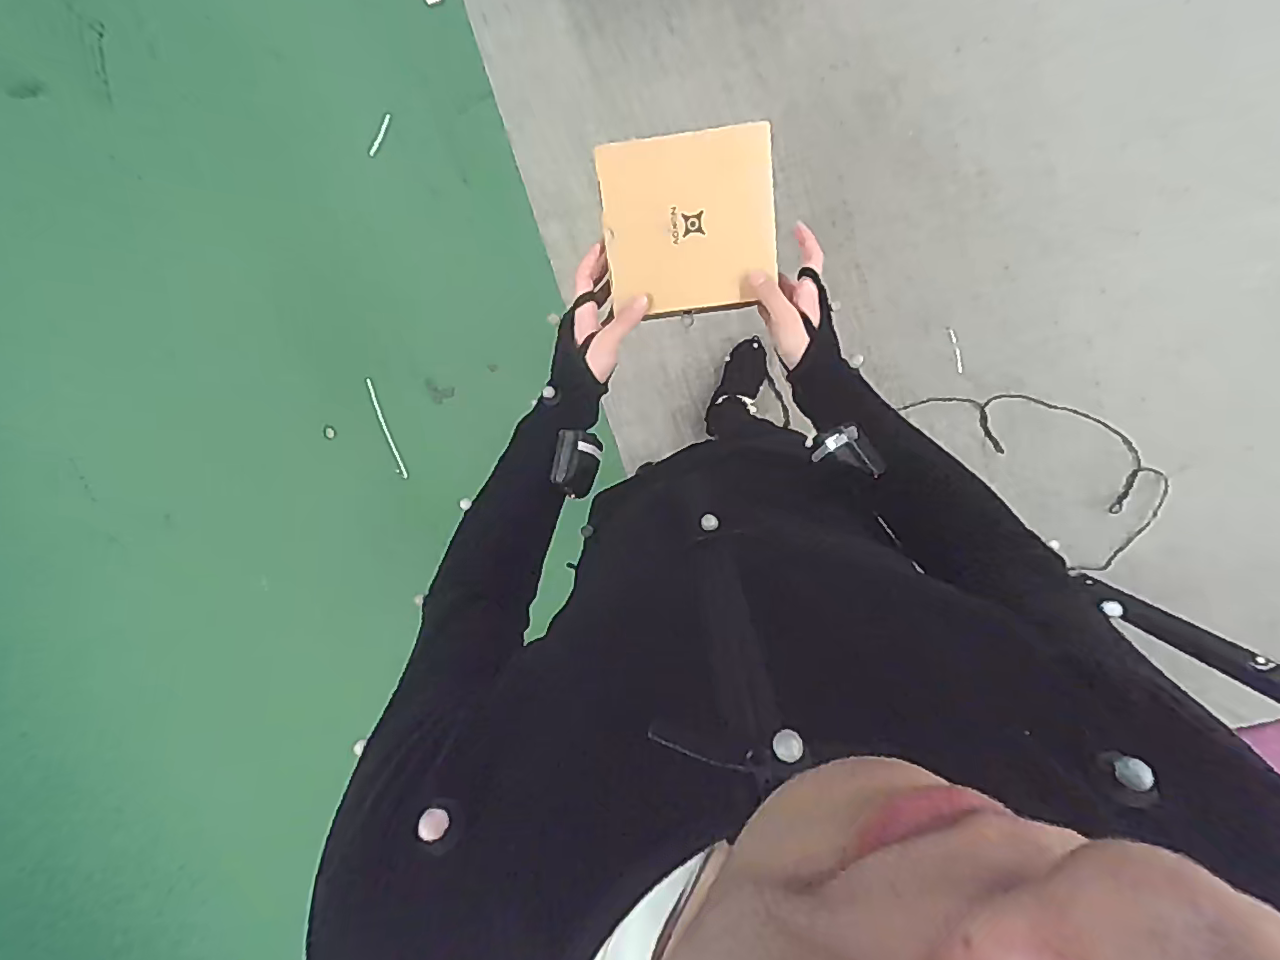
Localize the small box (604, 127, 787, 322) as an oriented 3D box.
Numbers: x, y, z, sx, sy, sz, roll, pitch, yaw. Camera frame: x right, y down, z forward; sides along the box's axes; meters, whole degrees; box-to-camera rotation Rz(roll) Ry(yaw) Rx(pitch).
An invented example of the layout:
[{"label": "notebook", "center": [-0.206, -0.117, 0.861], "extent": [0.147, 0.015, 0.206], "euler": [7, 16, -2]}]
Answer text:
[{"label": "small box", "center": [0.059, -0.276, 0.623], "extent": [0.179, 0.176, 0.168], "euler": [-6, 105, 3]}]
